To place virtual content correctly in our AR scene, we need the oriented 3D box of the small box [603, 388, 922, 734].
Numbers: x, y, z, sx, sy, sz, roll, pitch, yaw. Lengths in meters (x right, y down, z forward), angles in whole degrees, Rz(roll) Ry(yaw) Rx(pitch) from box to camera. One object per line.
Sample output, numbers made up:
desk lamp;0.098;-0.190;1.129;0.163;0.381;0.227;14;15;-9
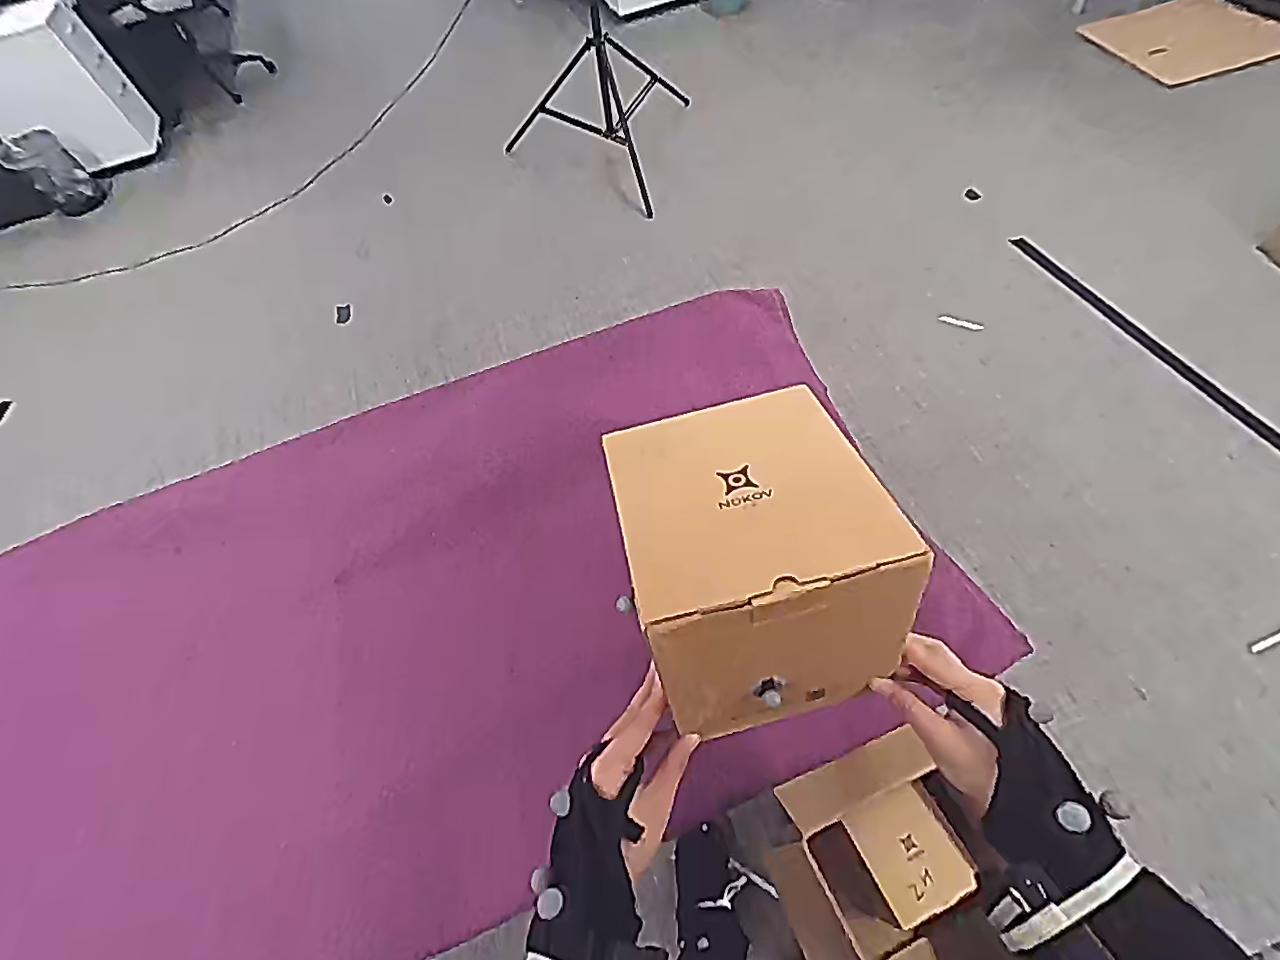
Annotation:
small box;0.077;0.060;0.413;0.168;0.176;0.179;-15;44;-1
